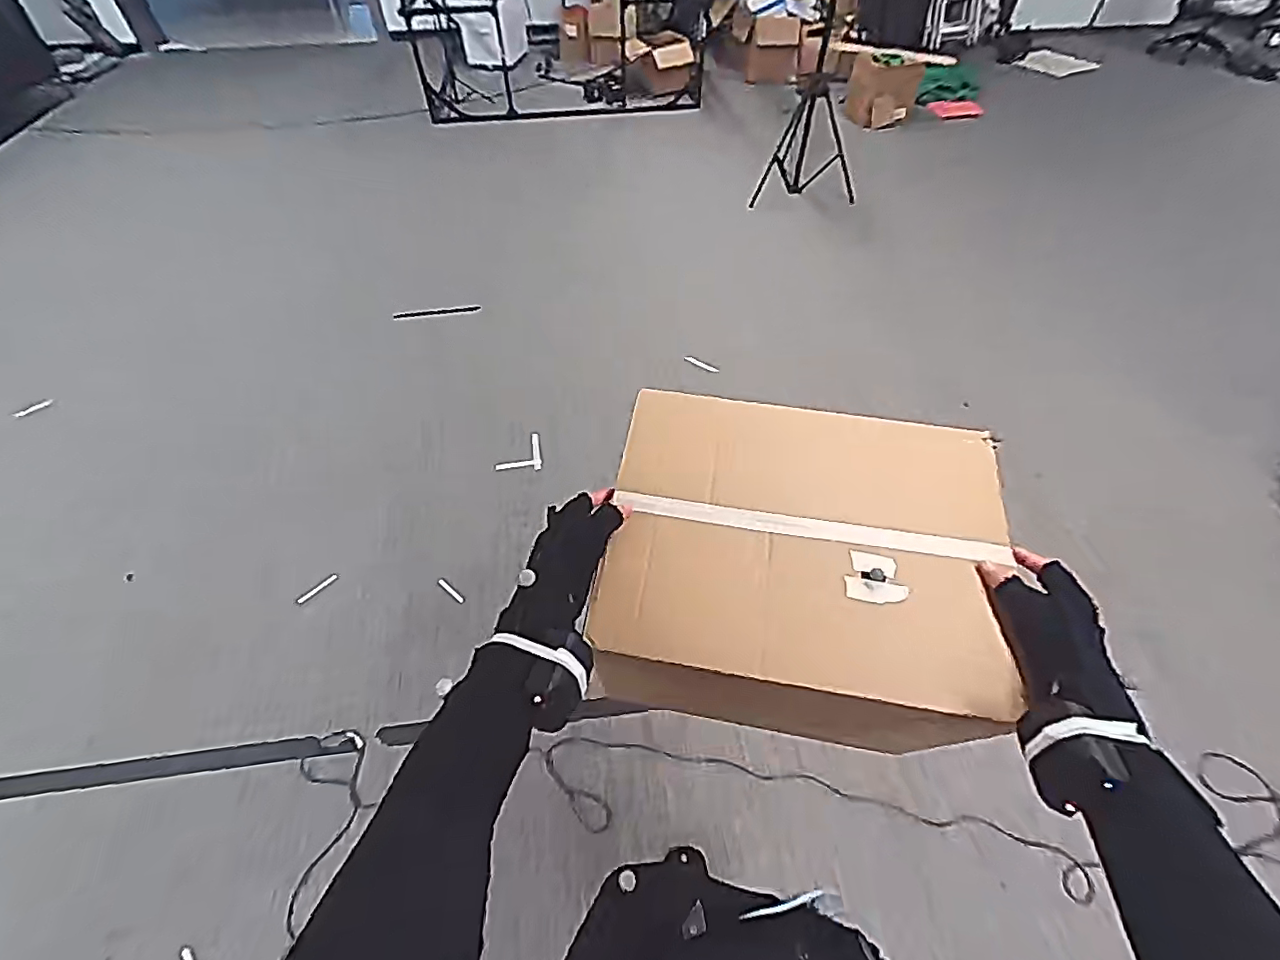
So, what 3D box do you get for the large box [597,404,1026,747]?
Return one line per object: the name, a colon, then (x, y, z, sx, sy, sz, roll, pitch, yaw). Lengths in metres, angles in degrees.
large box: (0.178, 0.135, 0.703, 0.408, 0.320, 0.320, 9, 61, 6)
